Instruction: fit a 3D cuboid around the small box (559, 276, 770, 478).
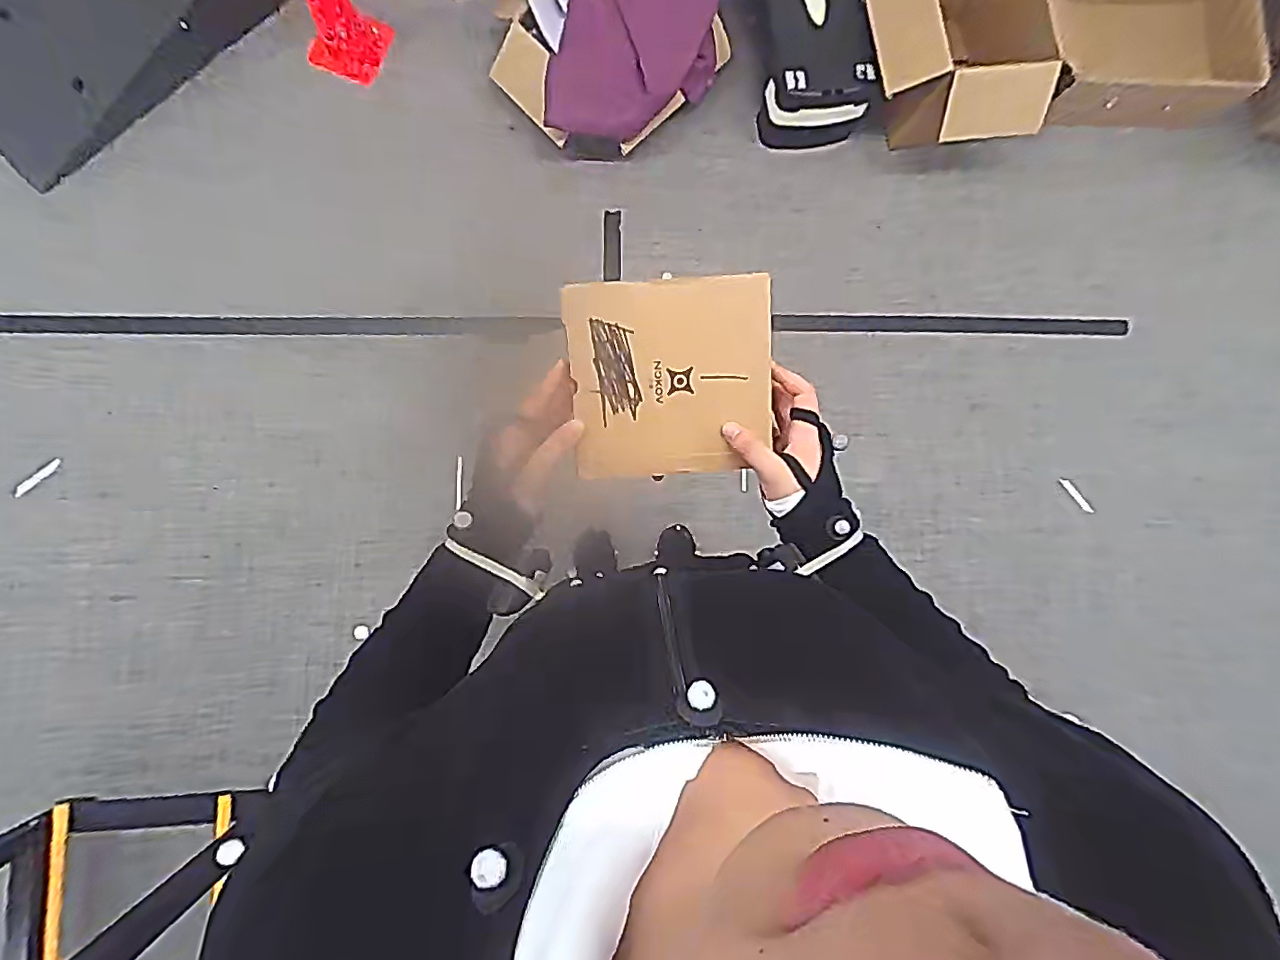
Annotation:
[{"bbox_3d":[0.022,-0.101,0.538,0.179,0.176,0.168,-4,103,-2],"label":"small box"}]
